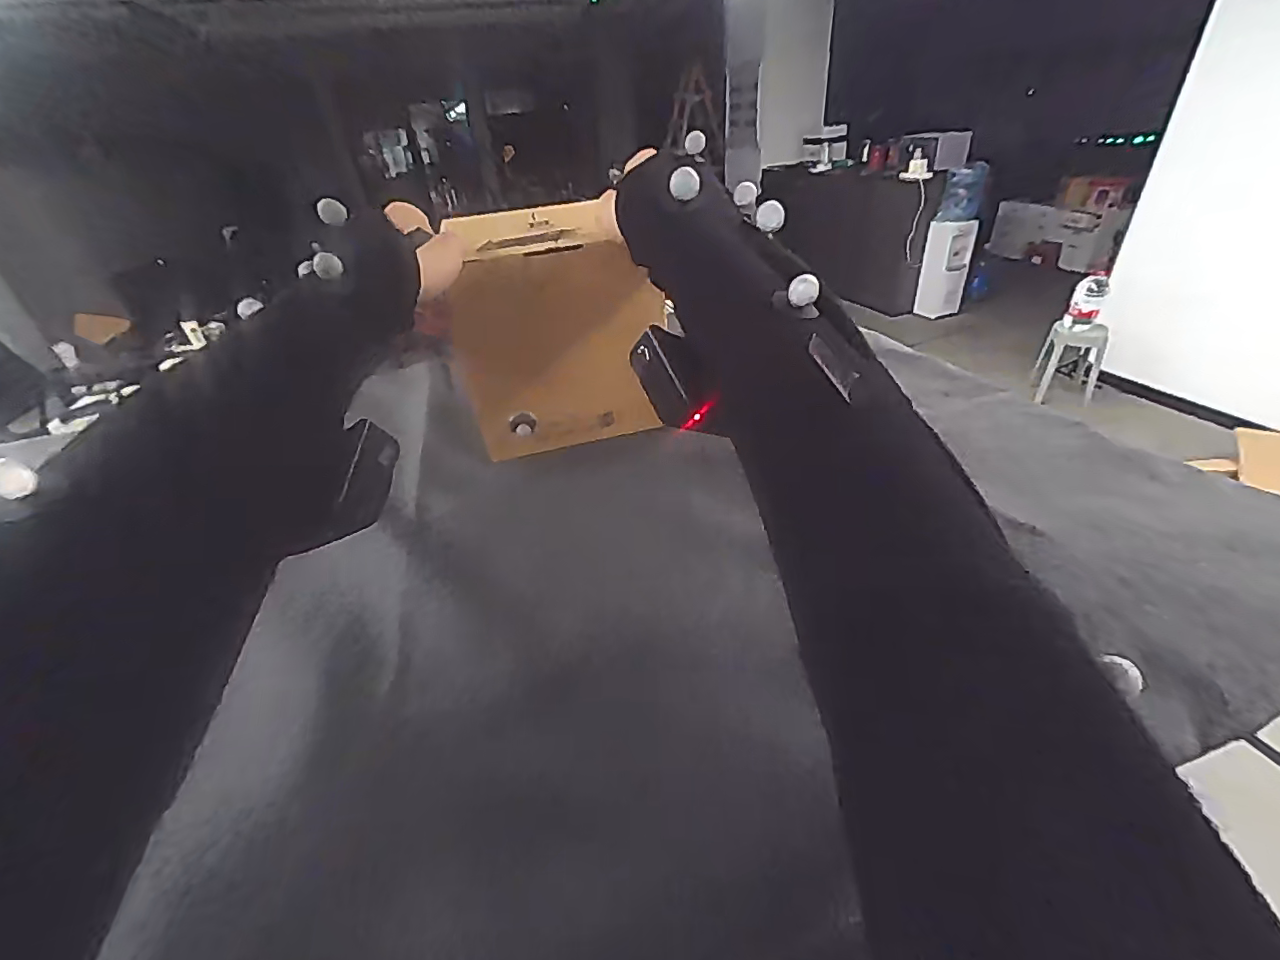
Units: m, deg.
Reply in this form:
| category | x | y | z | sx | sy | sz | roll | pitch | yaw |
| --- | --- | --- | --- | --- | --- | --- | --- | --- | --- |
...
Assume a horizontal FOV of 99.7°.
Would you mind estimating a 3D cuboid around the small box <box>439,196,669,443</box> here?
| category | x | y | z | sx | sy | sz | roll | pitch | yaw |
| --- | --- | --- | --- | --- | --- | --- | --- | --- | --- |
| small box | -0.075 | -0.147 | 0.500 | 0.168 | 0.176 | 0.179 | -13 | 37 | -9 |
